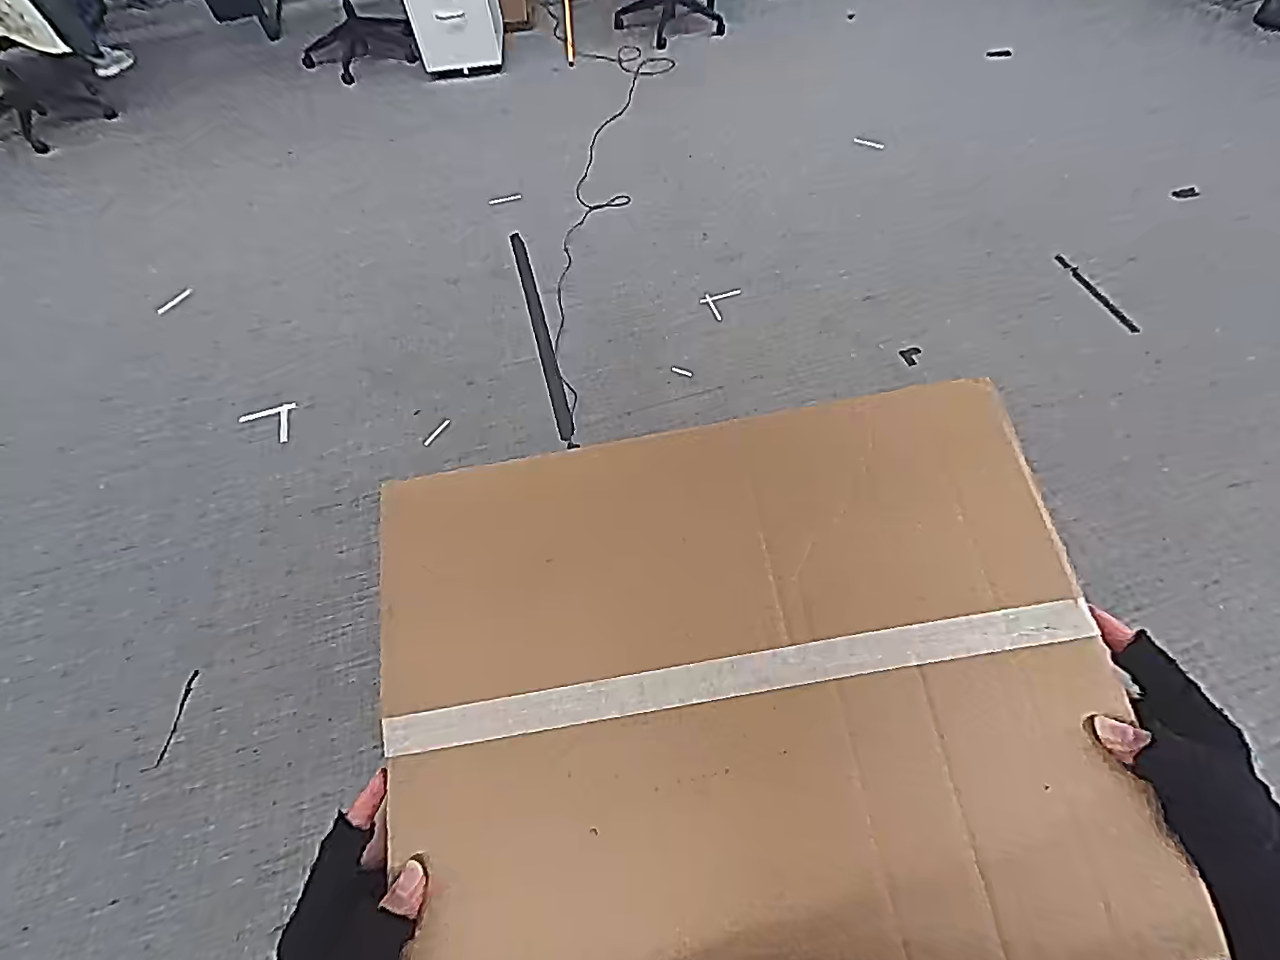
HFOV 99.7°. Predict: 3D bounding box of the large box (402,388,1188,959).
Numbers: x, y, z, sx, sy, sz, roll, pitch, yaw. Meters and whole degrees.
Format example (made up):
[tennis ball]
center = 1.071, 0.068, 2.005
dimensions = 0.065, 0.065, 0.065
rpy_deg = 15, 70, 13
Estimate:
[large box]
center = 0.066, 0.164, 0.461
dimensions = 0.408, 0.320, 0.320
rpy_deg = -10, 72, 2
